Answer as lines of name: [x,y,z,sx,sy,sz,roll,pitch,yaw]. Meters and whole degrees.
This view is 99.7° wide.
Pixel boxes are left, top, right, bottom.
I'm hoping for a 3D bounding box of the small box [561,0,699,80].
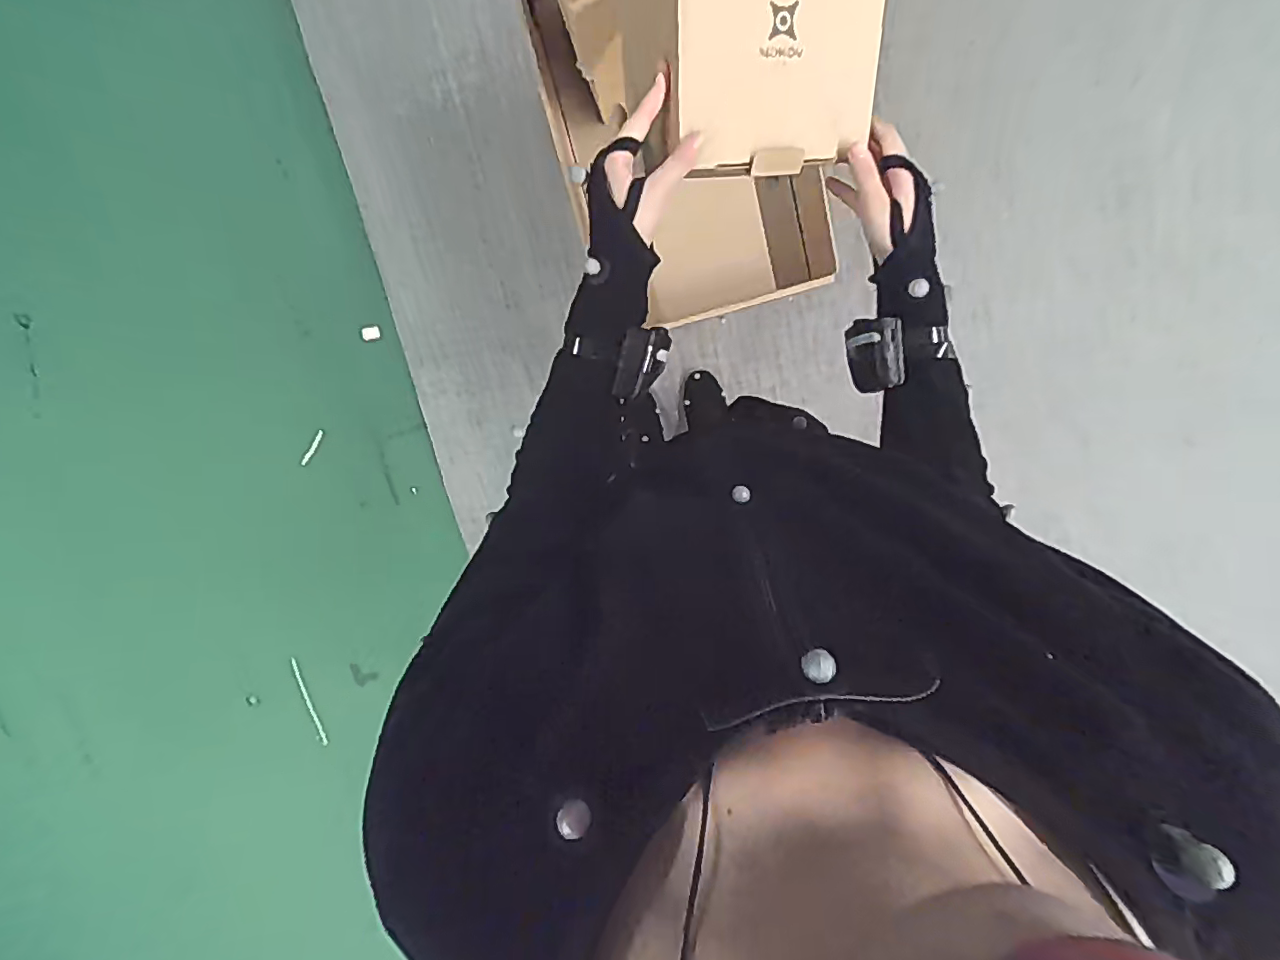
small box: [-0.025,-0.681,0.712,0.179,0.176,0.168,-19,101,7]
